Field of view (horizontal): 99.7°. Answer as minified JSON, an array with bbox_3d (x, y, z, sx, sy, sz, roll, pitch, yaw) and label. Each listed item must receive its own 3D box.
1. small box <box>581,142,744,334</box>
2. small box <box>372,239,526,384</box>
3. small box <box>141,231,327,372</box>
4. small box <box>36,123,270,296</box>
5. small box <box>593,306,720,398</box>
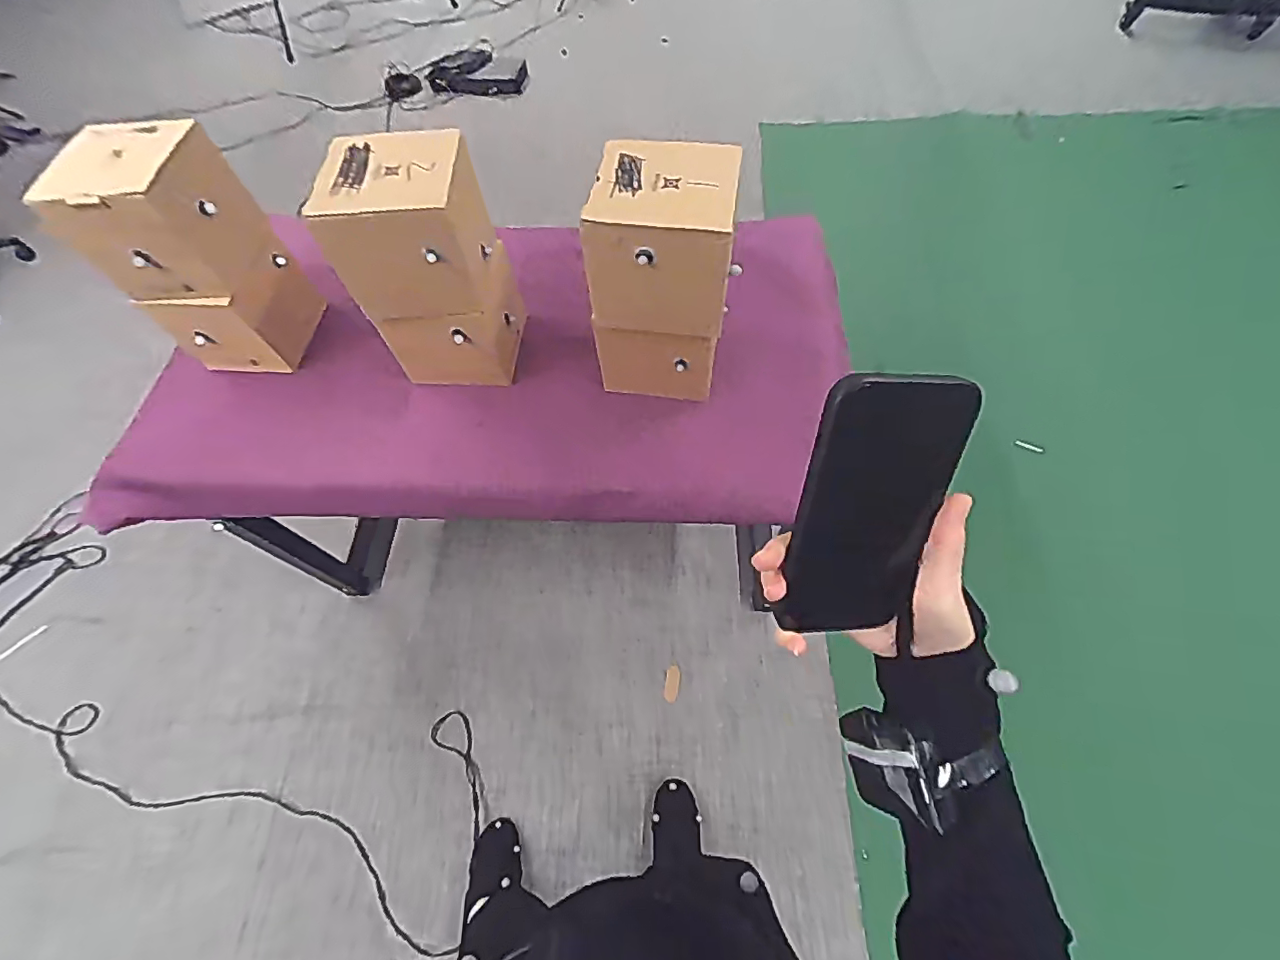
[{"bbox_3d":[0.035,-0.314,0.714,0.179,0.176,0.168,7,62,7],"label":"small box"},{"bbox_3d":[-0.301,-0.274,0.900,0.179,0.176,0.168,2,61,5],"label":"small box"},{"bbox_3d":[-0.688,-0.305,0.944,0.168,0.176,0.179,3,62,5],"label":"small box"},{"bbox_3d":[-0.697,-0.391,0.804,0.168,0.176,0.179,-2,62,2],"label":"small box"},{"bbox_3d":[0.038,-0.249,0.866,0.179,0.176,0.168,7,62,9],"label":"small box"}]
